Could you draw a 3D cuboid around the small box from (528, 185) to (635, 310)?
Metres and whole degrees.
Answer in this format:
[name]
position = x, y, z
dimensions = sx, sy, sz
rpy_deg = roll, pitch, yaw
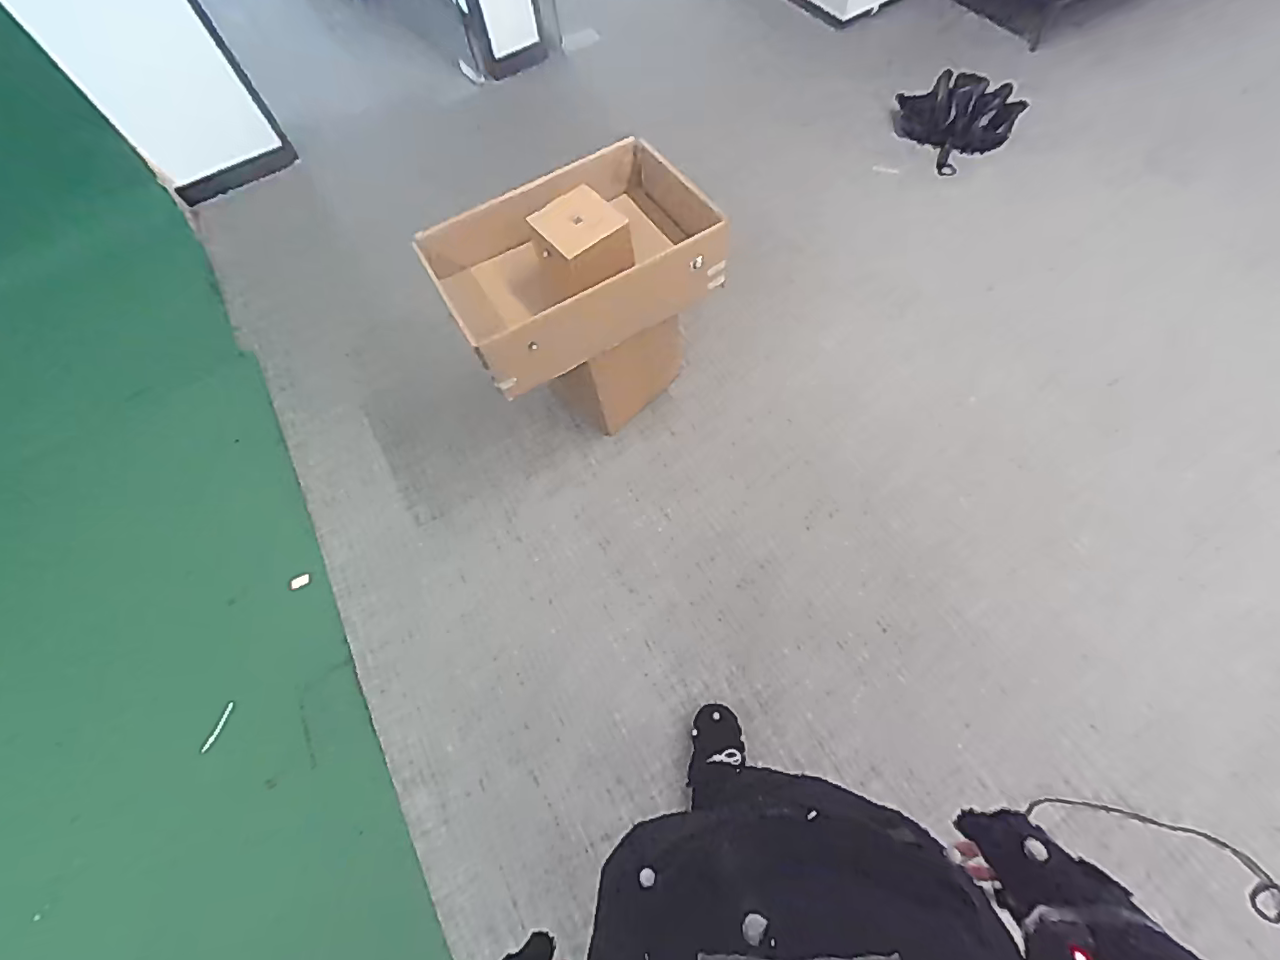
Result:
[small box]
position = -0.129, -0.532, 1.249
dimensions = 0.168, 0.176, 0.179
rpy_deg = -36, 67, -11
